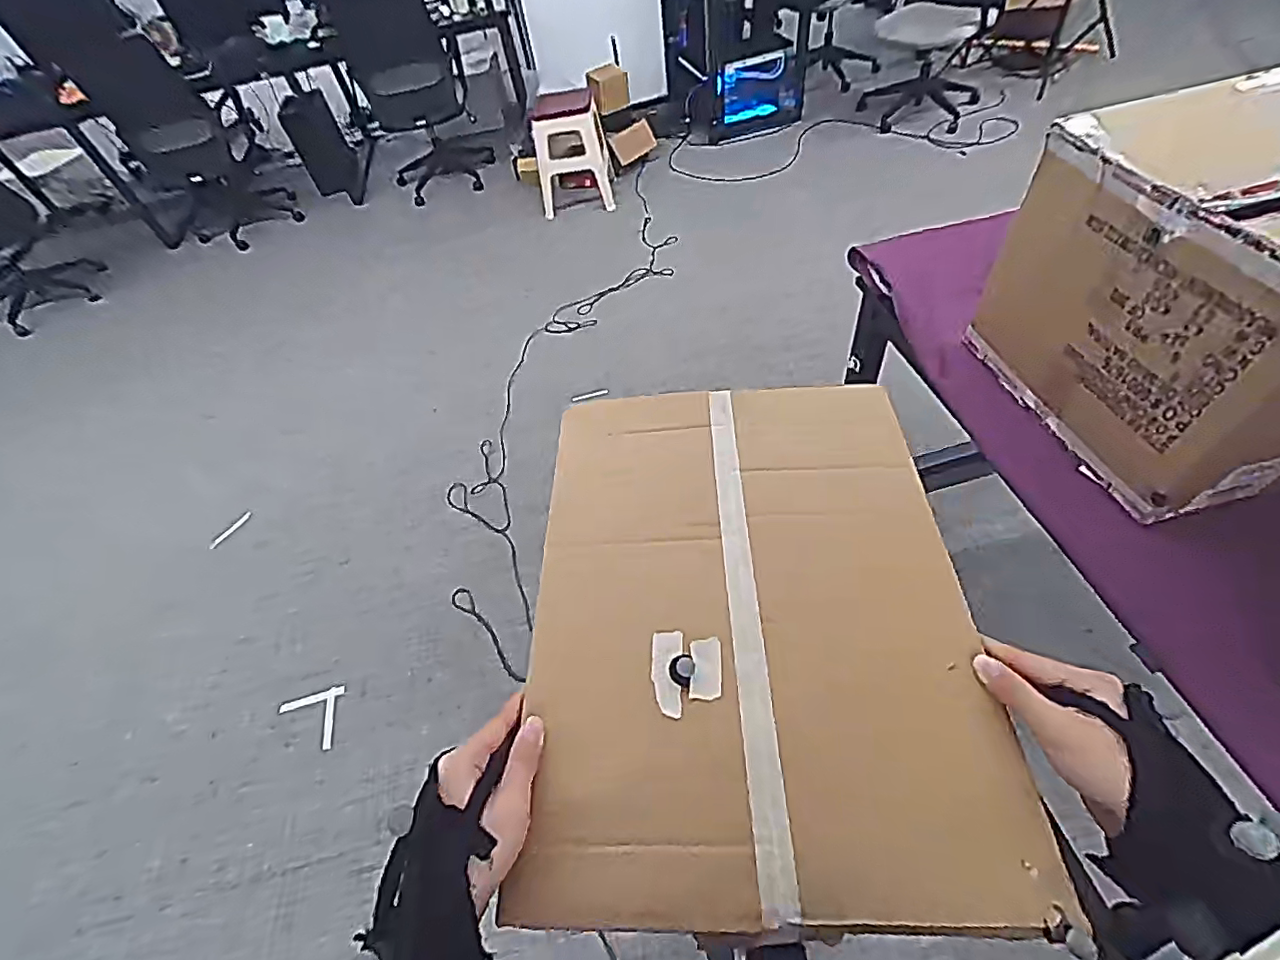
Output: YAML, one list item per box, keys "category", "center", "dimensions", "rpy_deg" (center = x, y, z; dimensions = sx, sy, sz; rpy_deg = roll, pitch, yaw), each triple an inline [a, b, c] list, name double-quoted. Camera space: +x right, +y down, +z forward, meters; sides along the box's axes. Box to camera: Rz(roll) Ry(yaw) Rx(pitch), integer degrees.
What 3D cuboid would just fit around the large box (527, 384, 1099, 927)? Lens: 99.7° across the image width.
- category: "large box"
  center: [0.096, 0.162, 0.525]
  dimensions: [0.320, 0.320, 0.408]
  rpy_deg: [-4, 53, 4]
